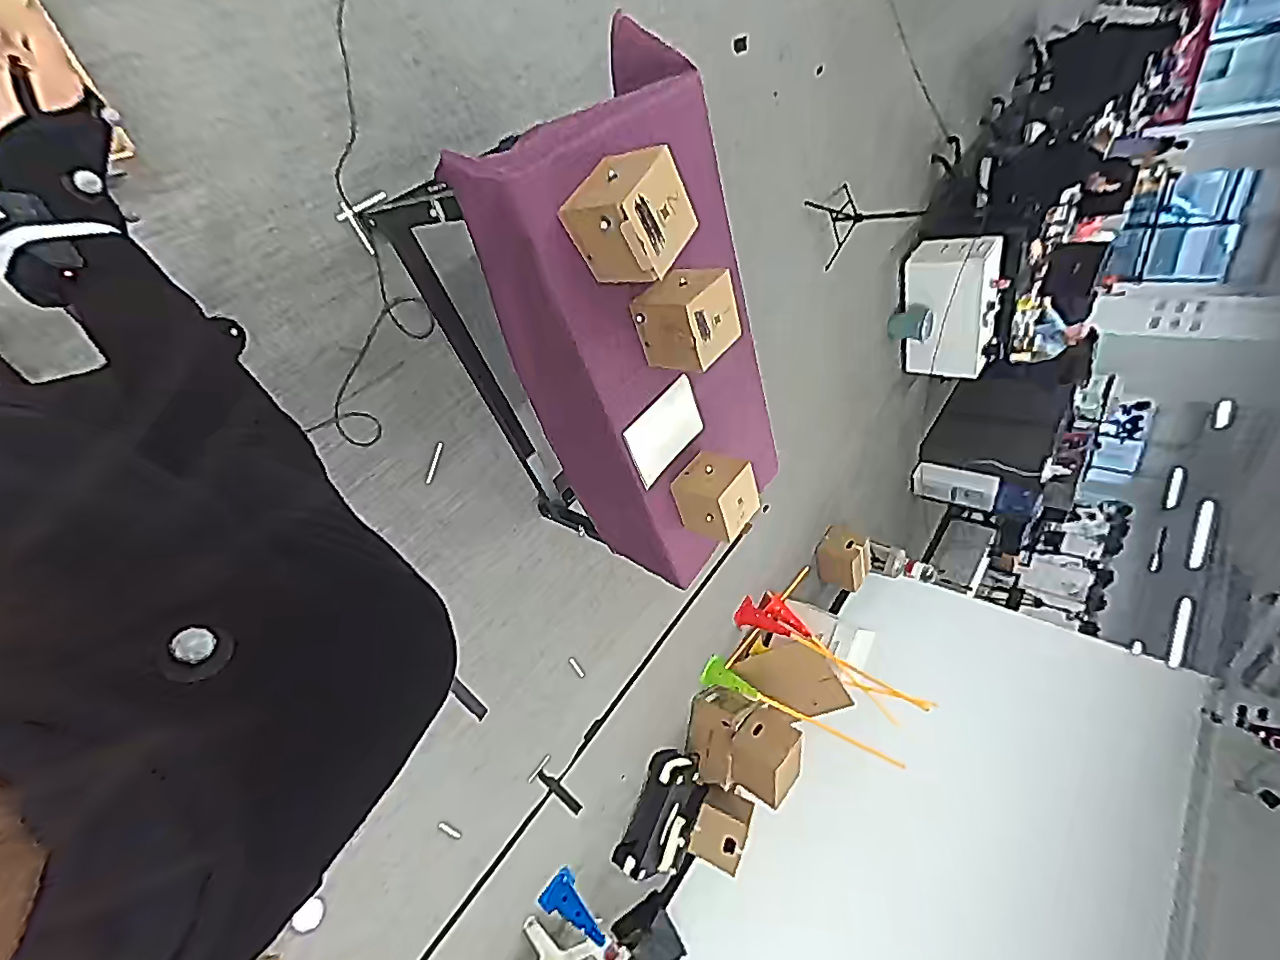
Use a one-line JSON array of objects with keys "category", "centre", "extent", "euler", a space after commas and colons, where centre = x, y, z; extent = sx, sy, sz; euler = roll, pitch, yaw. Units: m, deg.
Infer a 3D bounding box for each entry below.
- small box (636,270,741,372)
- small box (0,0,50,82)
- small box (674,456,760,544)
[{"category": "small box", "centre": [0.109, -0.373, 1.266], "extent": [0.179, 0.176, 0.168], "euler": [-47, 134, -29]}, {"category": "small box", "centre": [-0.536, -0.417, 0.375], "extent": [0.168, 0.176, 0.179], "euler": [2, 112, -55]}, {"category": "small box", "centre": [0.217, 0.048, 1.540], "extent": [0.168, 0.176, 0.179], "euler": [-45, 133, -29]}]
